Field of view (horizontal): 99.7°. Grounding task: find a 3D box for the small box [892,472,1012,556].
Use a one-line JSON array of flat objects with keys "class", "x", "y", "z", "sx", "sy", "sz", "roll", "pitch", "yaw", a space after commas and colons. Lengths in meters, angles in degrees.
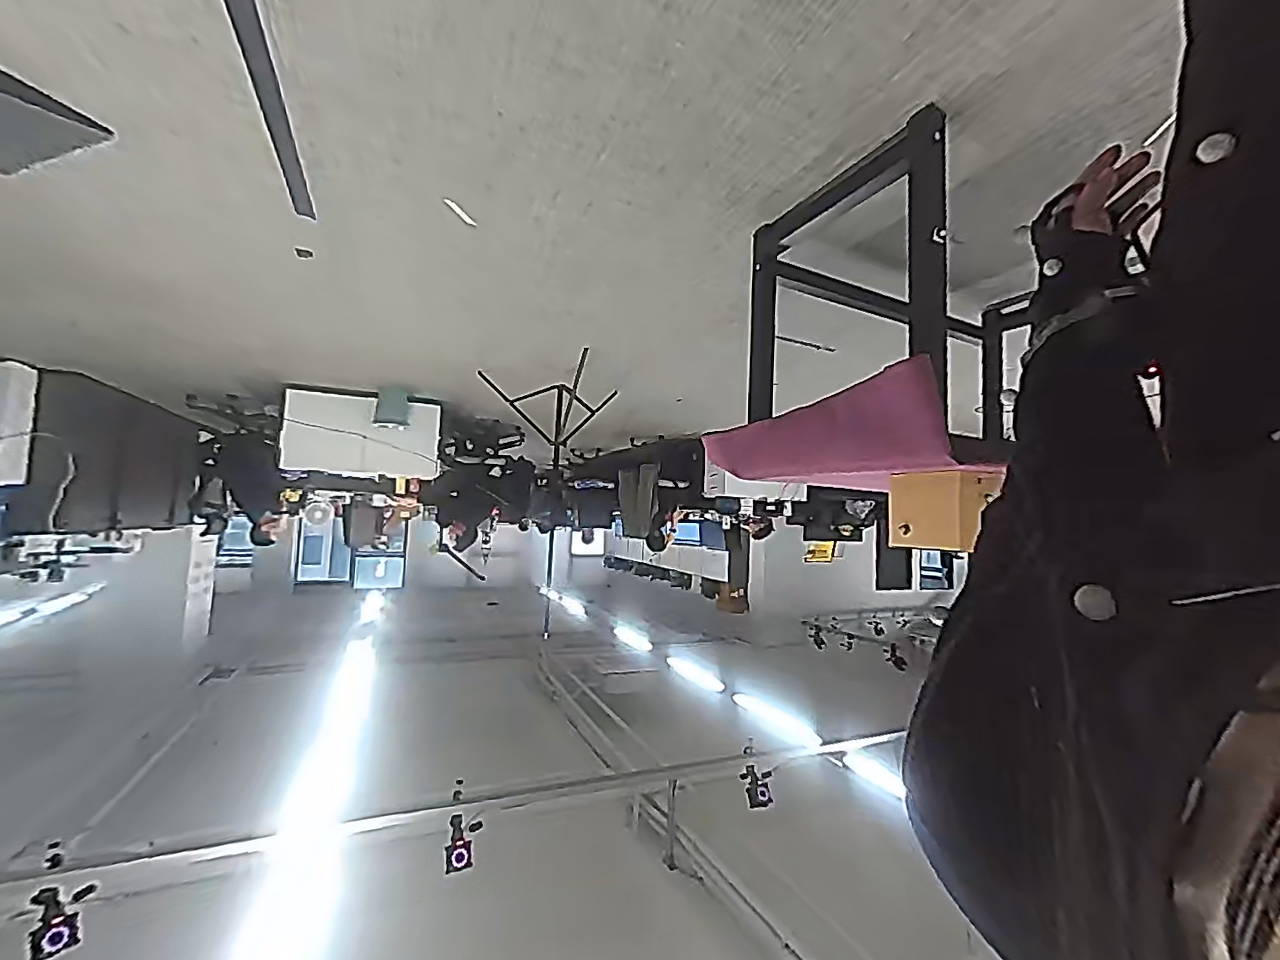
[{"class": "small box", "x": 0.683, "y": 0.075, "z": 1.187, "sx": 0.168, "sy": 0.176, "sz": 0.179, "roll": 3, "pitch": 176, "yaw": -25}]
